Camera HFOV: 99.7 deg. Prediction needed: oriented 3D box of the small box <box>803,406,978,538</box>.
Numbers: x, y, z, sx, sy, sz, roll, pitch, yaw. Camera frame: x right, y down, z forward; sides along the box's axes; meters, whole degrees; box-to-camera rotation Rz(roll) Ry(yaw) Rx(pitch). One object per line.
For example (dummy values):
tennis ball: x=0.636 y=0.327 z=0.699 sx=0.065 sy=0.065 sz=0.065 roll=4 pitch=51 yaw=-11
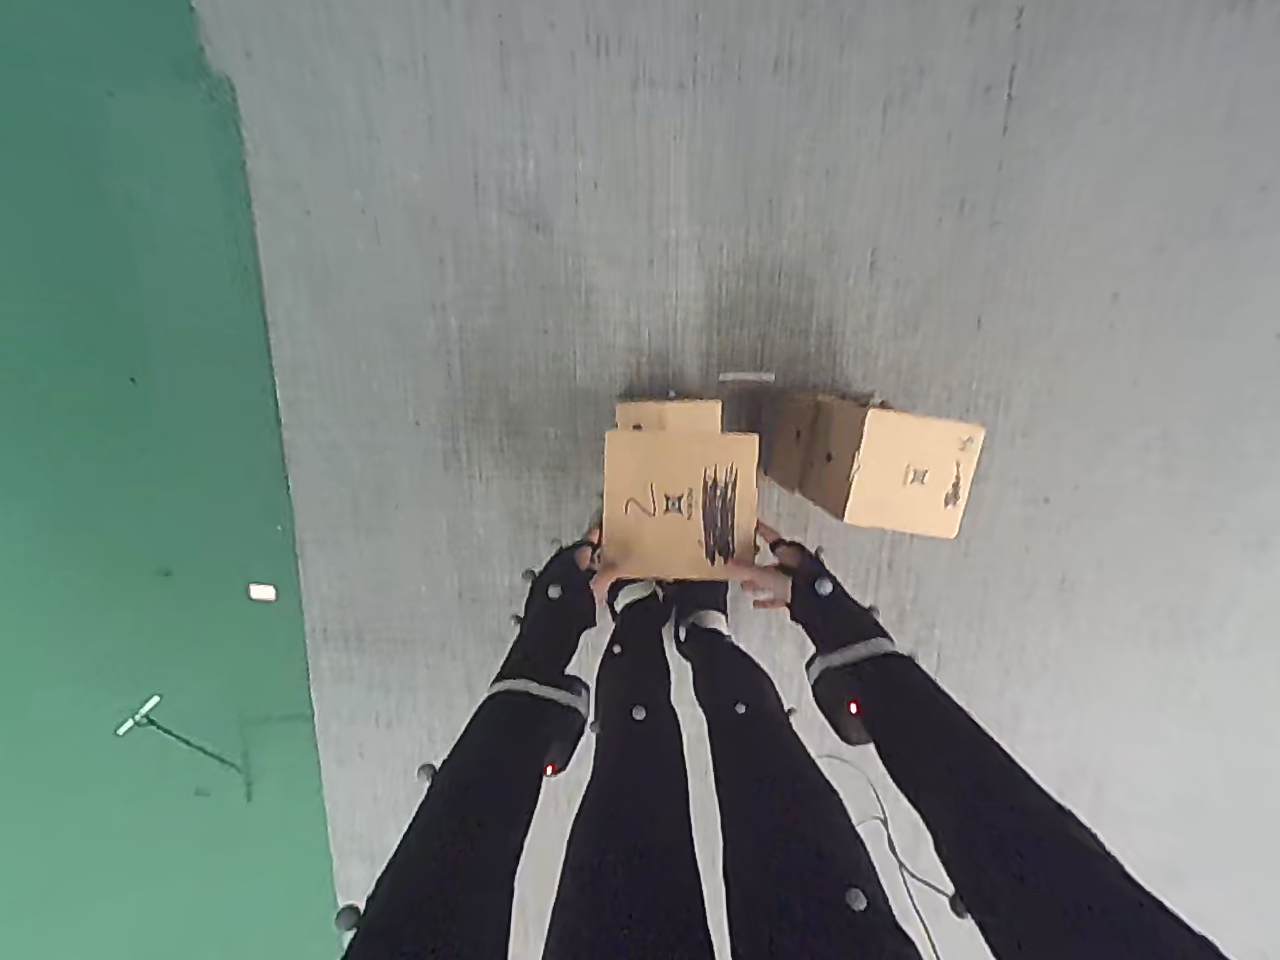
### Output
small box: x=0.372 y=-0.022 z=0.841 sx=0.179 sy=0.176 sz=0.168 roll=8 pitch=101 yaw=-4

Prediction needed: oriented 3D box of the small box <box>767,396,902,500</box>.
small box: x=0.348 y=-0.057 z=1.000 sx=0.168 sy=0.176 sz=0.179 roll=8 pitch=101 yaw=-5
